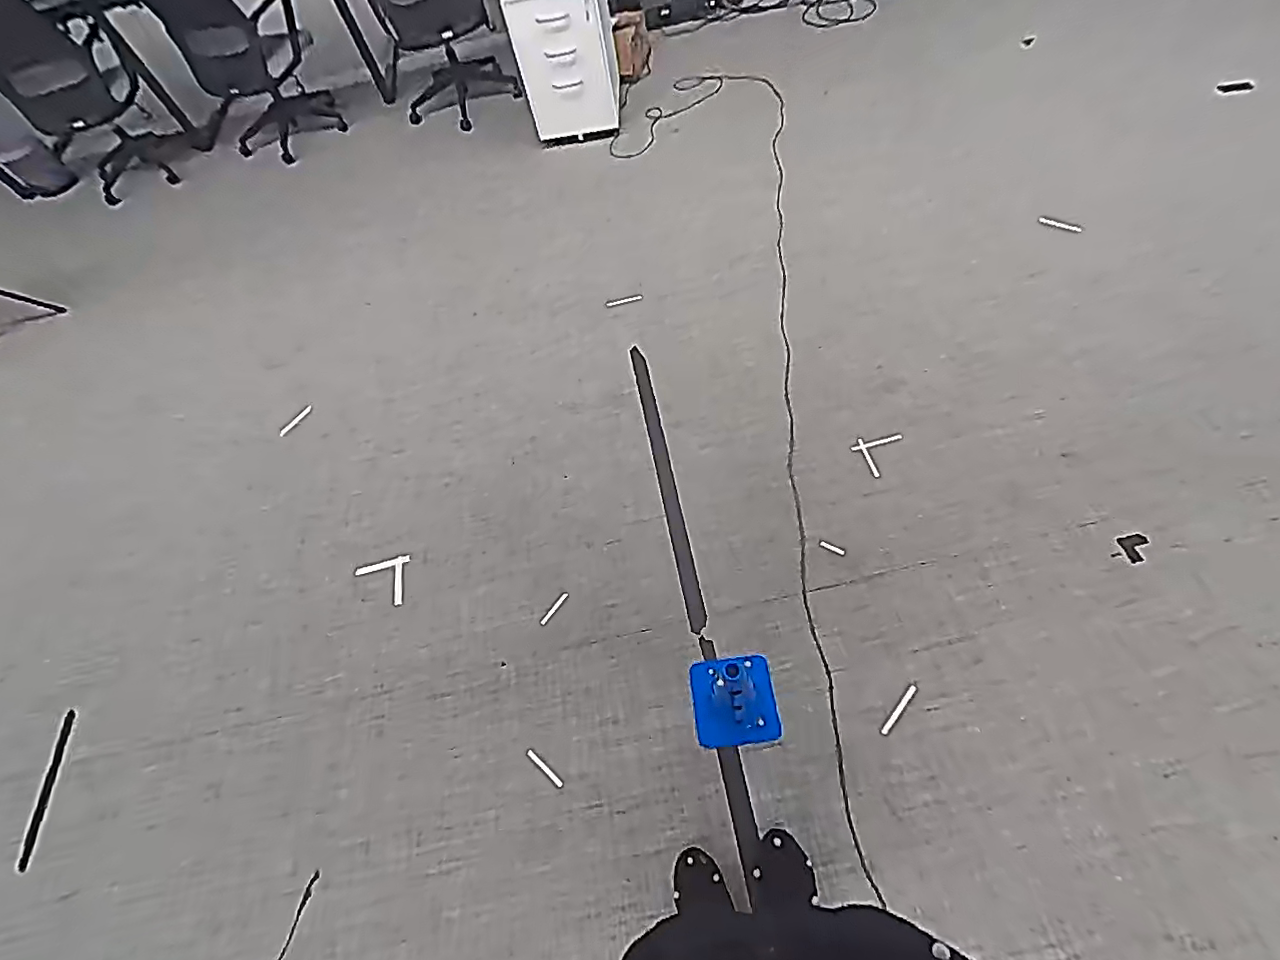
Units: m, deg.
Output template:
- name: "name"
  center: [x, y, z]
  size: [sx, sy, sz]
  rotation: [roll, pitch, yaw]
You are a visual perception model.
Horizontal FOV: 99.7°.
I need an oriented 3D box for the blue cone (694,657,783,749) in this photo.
- name: "blue cone"
  center: [0.210, 0.450, 1.167]
  size: [0.193, 0.380, 0.192]
  rotation: [-10, 58, 3]
